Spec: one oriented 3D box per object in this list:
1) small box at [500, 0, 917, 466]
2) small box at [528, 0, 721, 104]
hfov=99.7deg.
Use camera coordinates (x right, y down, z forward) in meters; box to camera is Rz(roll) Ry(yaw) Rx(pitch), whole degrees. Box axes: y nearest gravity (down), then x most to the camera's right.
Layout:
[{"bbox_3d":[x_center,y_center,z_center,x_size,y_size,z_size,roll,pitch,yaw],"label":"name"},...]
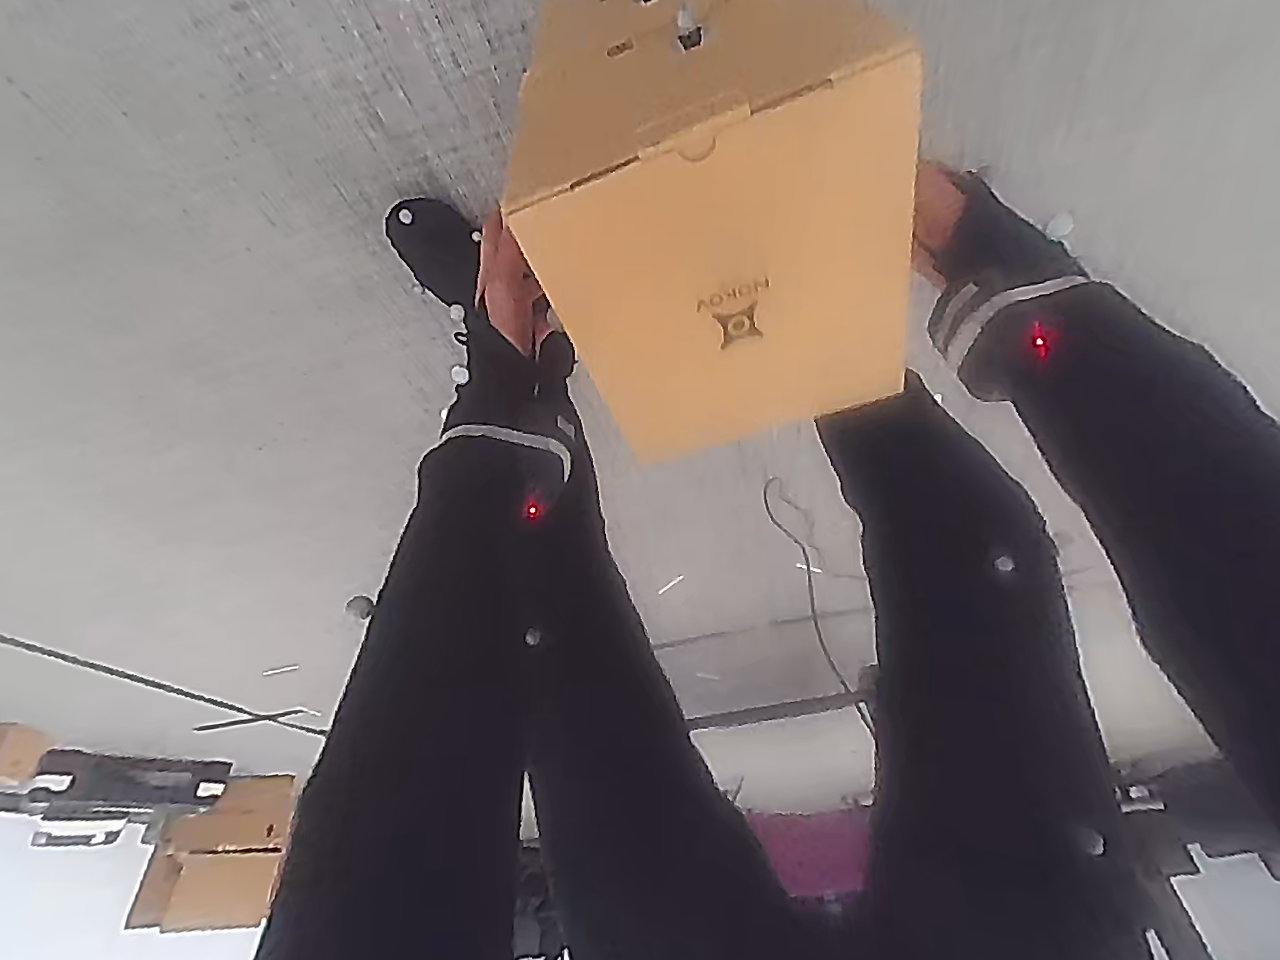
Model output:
[{"bbox_3d":[0.040,-0.140,0.317,0.168,0.176,0.179,-16,139,12],"label":"small box"},{"bbox_3d":[0.025,-0.262,0.425,0.168,0.176,0.179,-15,140,12],"label":"small box"}]
